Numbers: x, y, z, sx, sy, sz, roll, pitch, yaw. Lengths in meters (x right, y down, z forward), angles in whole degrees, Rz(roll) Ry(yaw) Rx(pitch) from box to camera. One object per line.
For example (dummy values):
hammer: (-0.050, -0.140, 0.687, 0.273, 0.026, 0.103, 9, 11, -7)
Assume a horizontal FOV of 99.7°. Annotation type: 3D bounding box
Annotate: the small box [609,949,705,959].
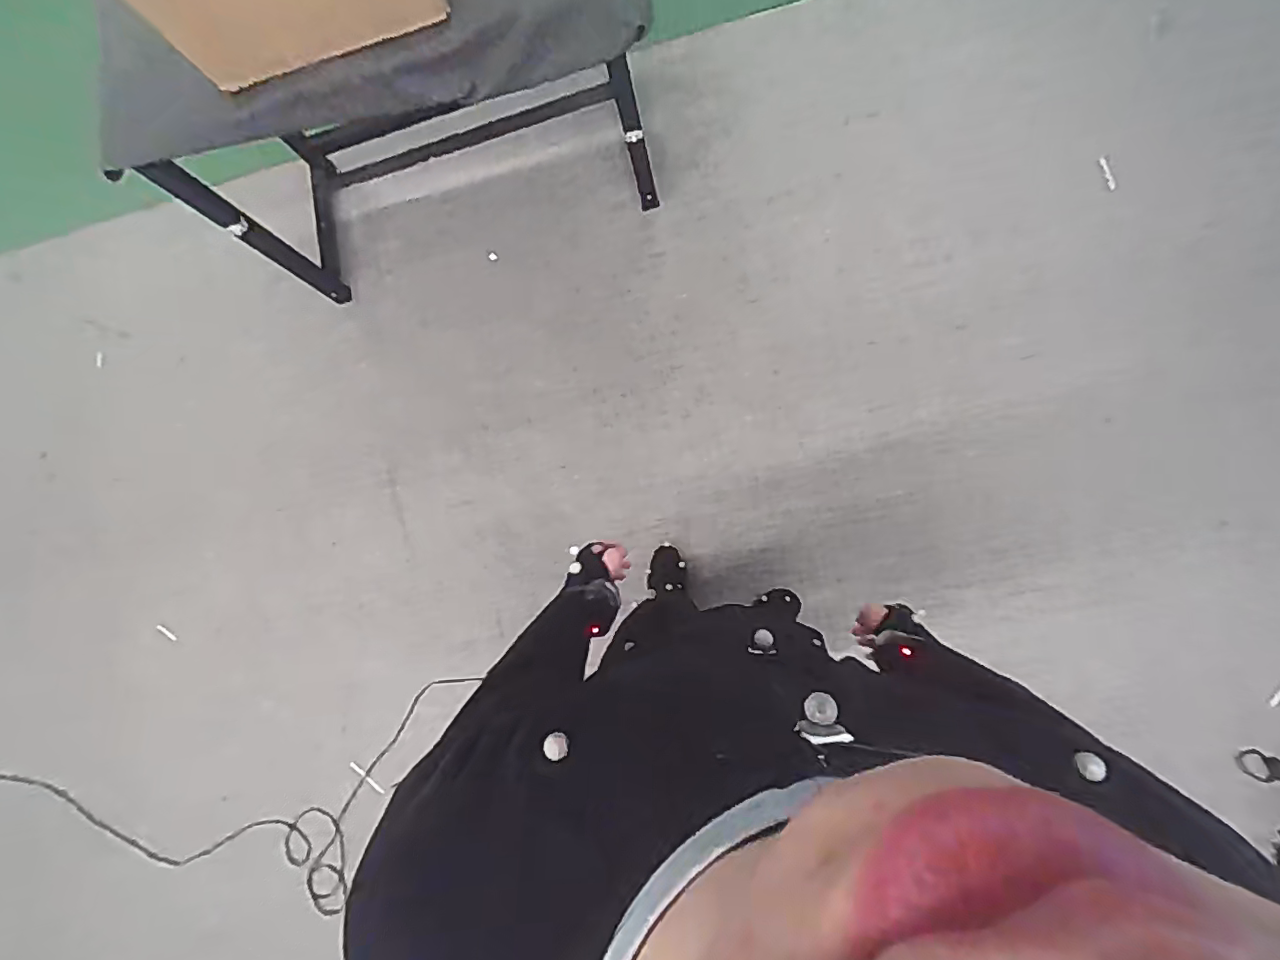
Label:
small box: (0.020, 0.735, 0.661, 0.168, 0.176, 0.179, -15, 79, 8)
